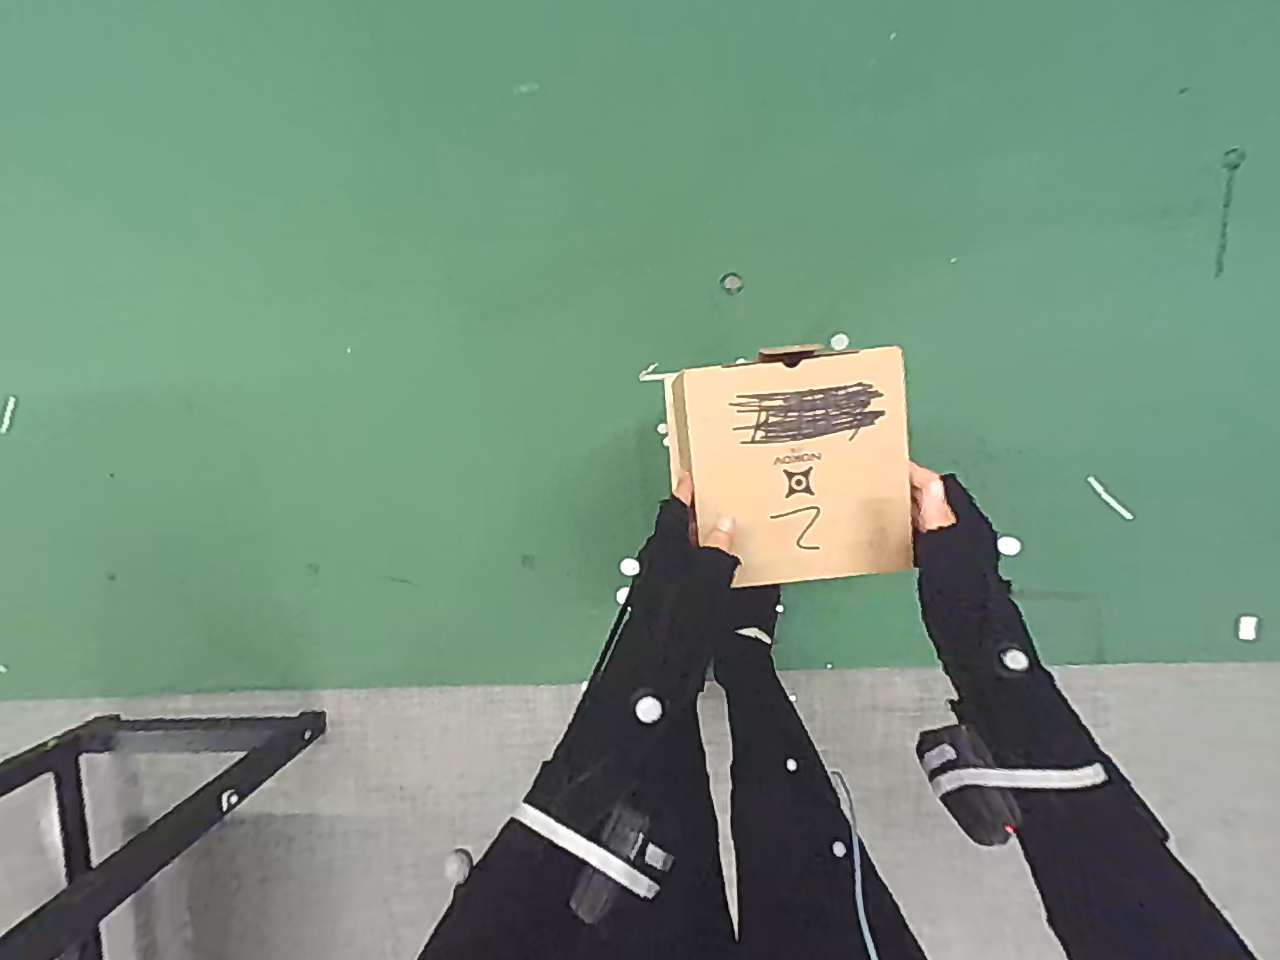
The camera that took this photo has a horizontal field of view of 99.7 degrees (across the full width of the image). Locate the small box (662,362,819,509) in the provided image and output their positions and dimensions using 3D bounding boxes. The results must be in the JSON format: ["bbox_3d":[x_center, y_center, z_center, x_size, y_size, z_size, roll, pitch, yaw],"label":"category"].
[{"bbox_3d":[0.125,-0.054,0.714,0.179,0.176,0.168,-5,94,5],"label":"small box"}]
